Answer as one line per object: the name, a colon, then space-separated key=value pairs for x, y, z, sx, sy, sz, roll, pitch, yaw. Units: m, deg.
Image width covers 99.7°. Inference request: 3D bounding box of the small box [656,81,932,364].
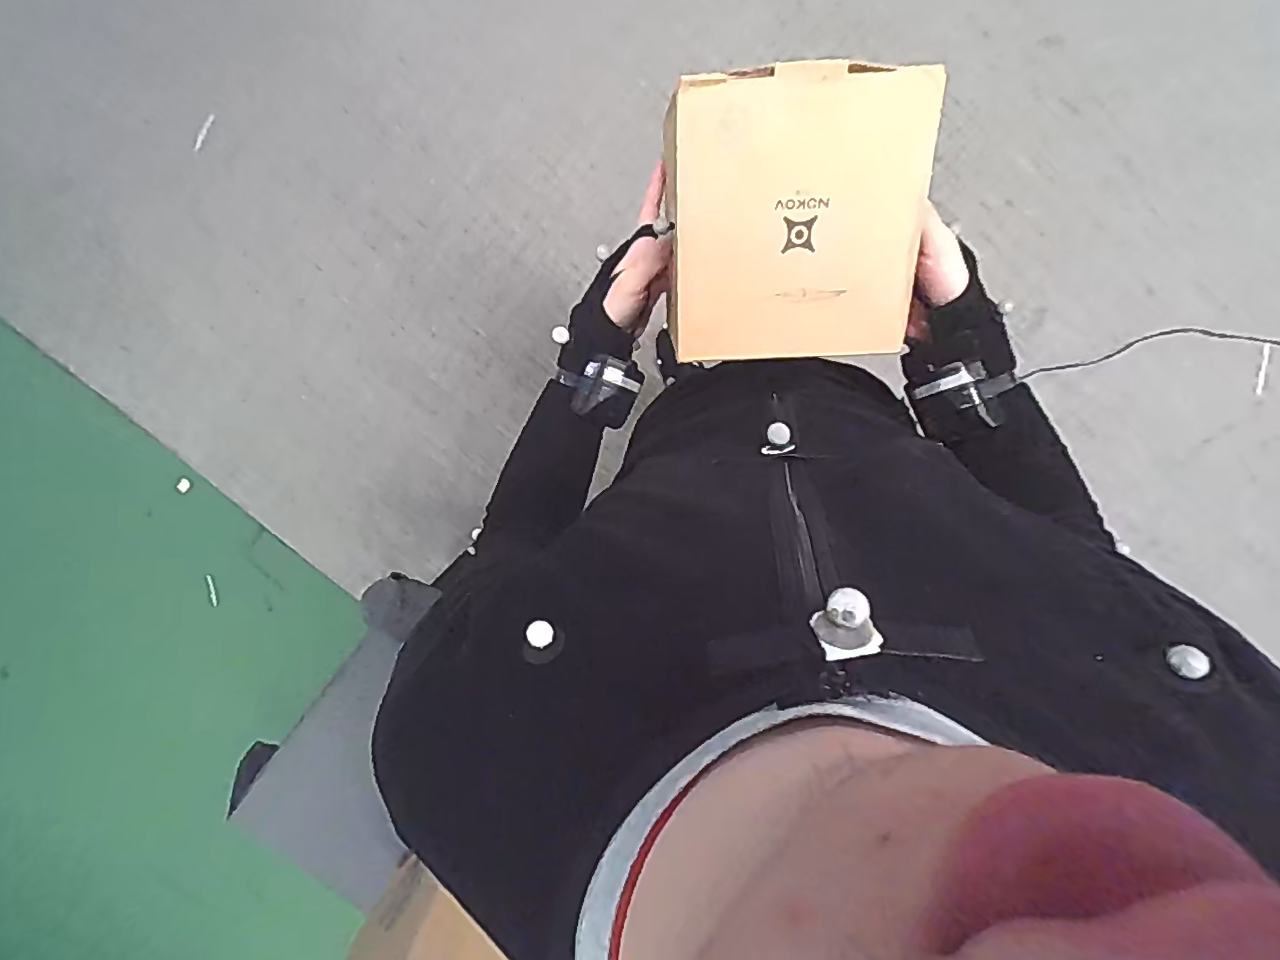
small box: x=0.099 y=-0.200 z=0.440 sx=0.168 sy=0.176 sz=0.179 roll=-1 pitch=117 yaw=-1
